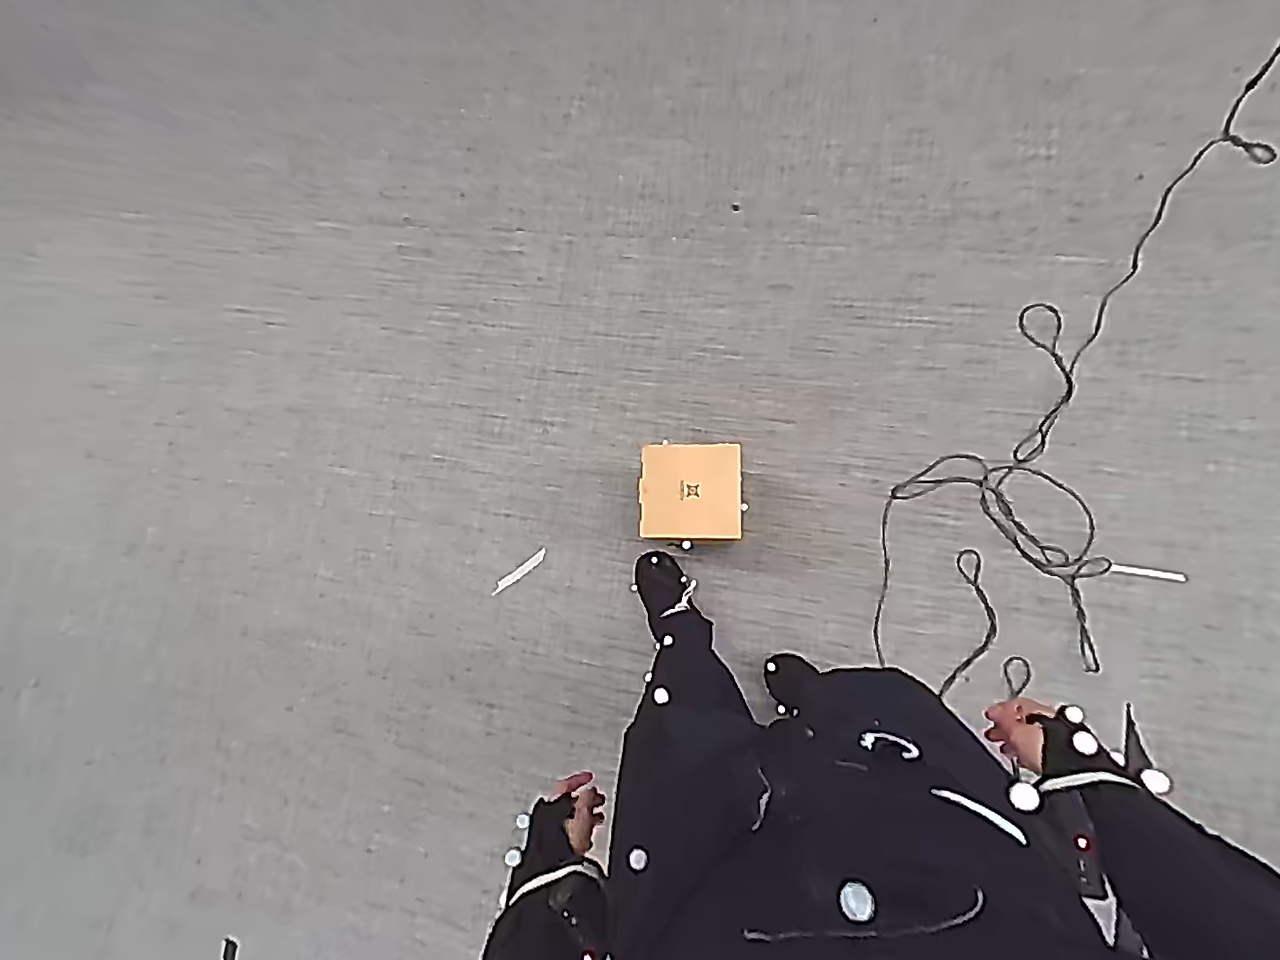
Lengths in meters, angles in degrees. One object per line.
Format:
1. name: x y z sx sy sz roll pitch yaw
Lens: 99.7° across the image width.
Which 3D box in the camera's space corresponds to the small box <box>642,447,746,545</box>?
1. small box: 0.103 0.035 1.003 0.179 0.176 0.168 -1 81 9
